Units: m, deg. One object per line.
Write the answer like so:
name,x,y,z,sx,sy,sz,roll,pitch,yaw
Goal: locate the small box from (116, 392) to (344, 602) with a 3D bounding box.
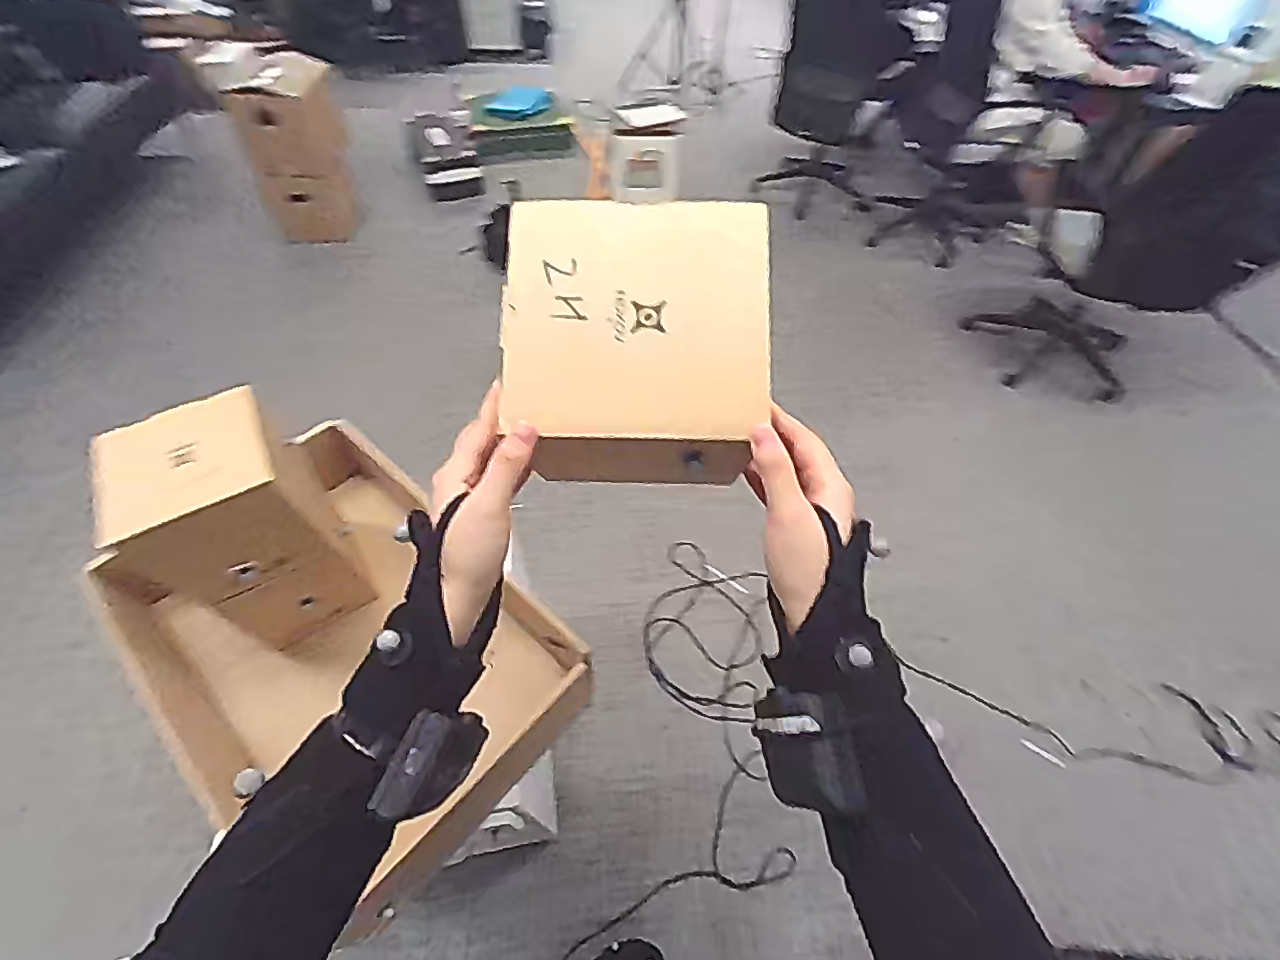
small box,-0.516,0.025,0.697,0.168,0.176,0.179,-27,59,-17
